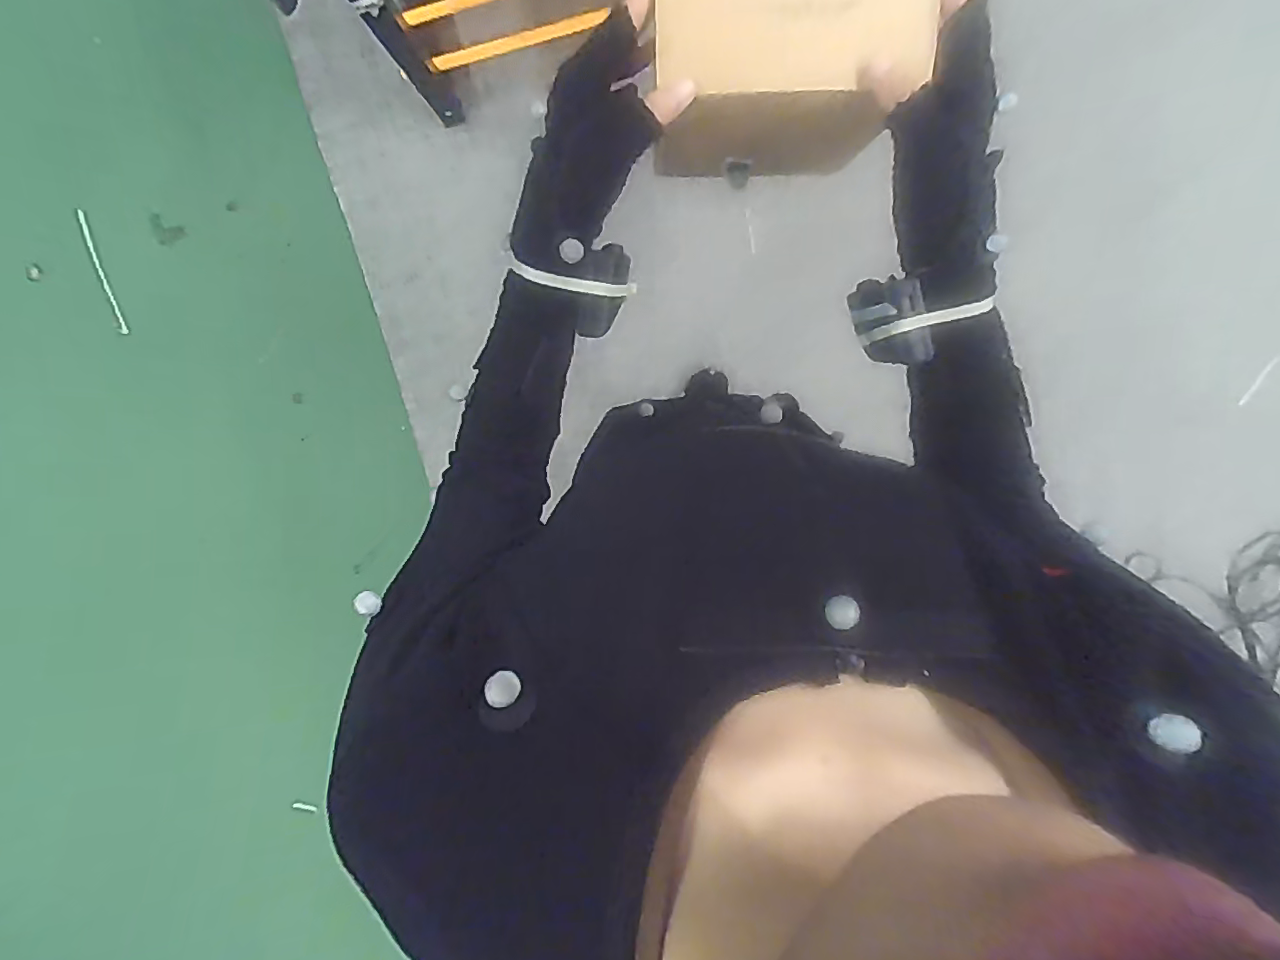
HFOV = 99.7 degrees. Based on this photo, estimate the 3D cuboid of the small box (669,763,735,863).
[{"bbox_3d":[0.174,0.948,1.550,0.168,0.176,0.179,-8,98,2],"label":"small box"}]
